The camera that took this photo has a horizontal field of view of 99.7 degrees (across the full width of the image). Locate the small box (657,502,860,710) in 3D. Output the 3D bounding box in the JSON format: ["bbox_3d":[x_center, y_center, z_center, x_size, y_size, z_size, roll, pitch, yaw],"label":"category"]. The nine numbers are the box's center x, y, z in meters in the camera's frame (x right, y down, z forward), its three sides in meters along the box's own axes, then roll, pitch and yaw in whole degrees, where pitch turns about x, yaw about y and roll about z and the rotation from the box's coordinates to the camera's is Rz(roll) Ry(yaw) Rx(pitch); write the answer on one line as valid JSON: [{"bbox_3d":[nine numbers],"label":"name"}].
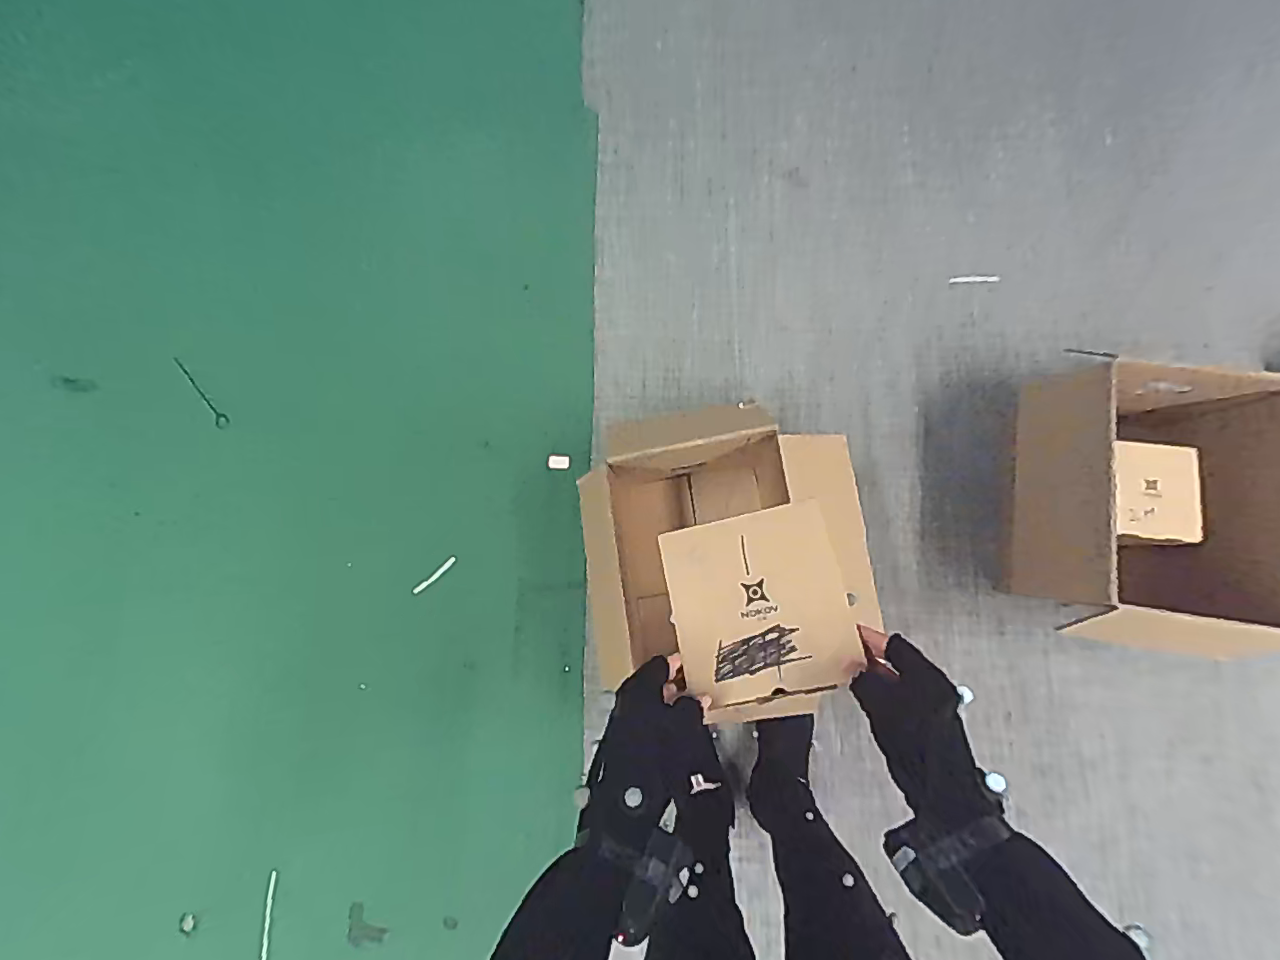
[{"bbox_3d":[0.128,0.144,0.599,0.168,0.176,0.179,-14,67,9],"label":"small box"}]
